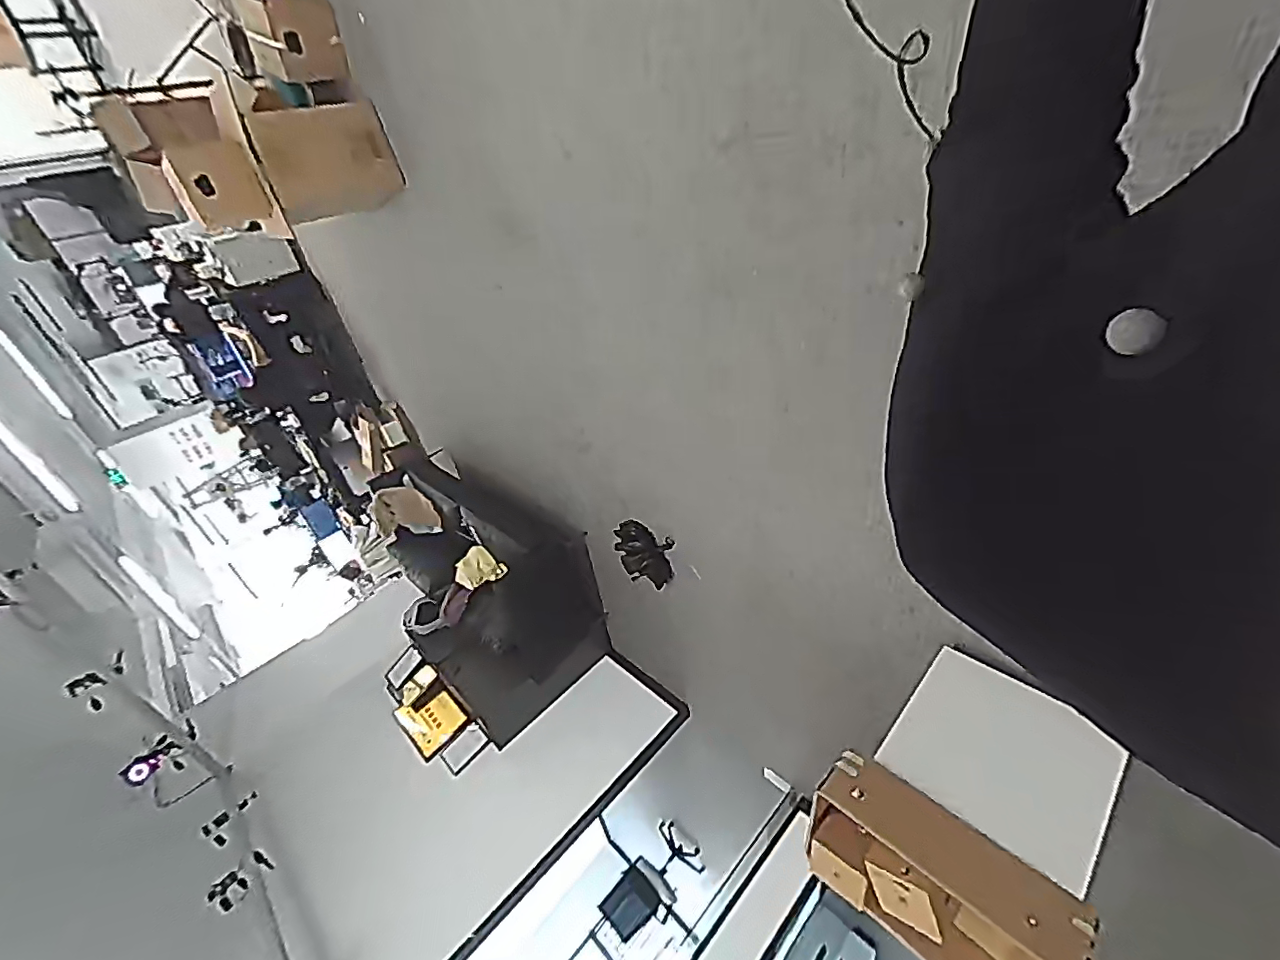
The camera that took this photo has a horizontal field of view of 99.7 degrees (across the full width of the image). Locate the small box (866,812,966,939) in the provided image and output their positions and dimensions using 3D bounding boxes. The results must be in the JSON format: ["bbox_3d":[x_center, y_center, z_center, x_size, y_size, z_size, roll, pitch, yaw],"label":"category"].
[{"bbox_3d":[0.734,1.034,1.429,0.168,0.176,0.179,-8,109,52],"label":"small box"}]
